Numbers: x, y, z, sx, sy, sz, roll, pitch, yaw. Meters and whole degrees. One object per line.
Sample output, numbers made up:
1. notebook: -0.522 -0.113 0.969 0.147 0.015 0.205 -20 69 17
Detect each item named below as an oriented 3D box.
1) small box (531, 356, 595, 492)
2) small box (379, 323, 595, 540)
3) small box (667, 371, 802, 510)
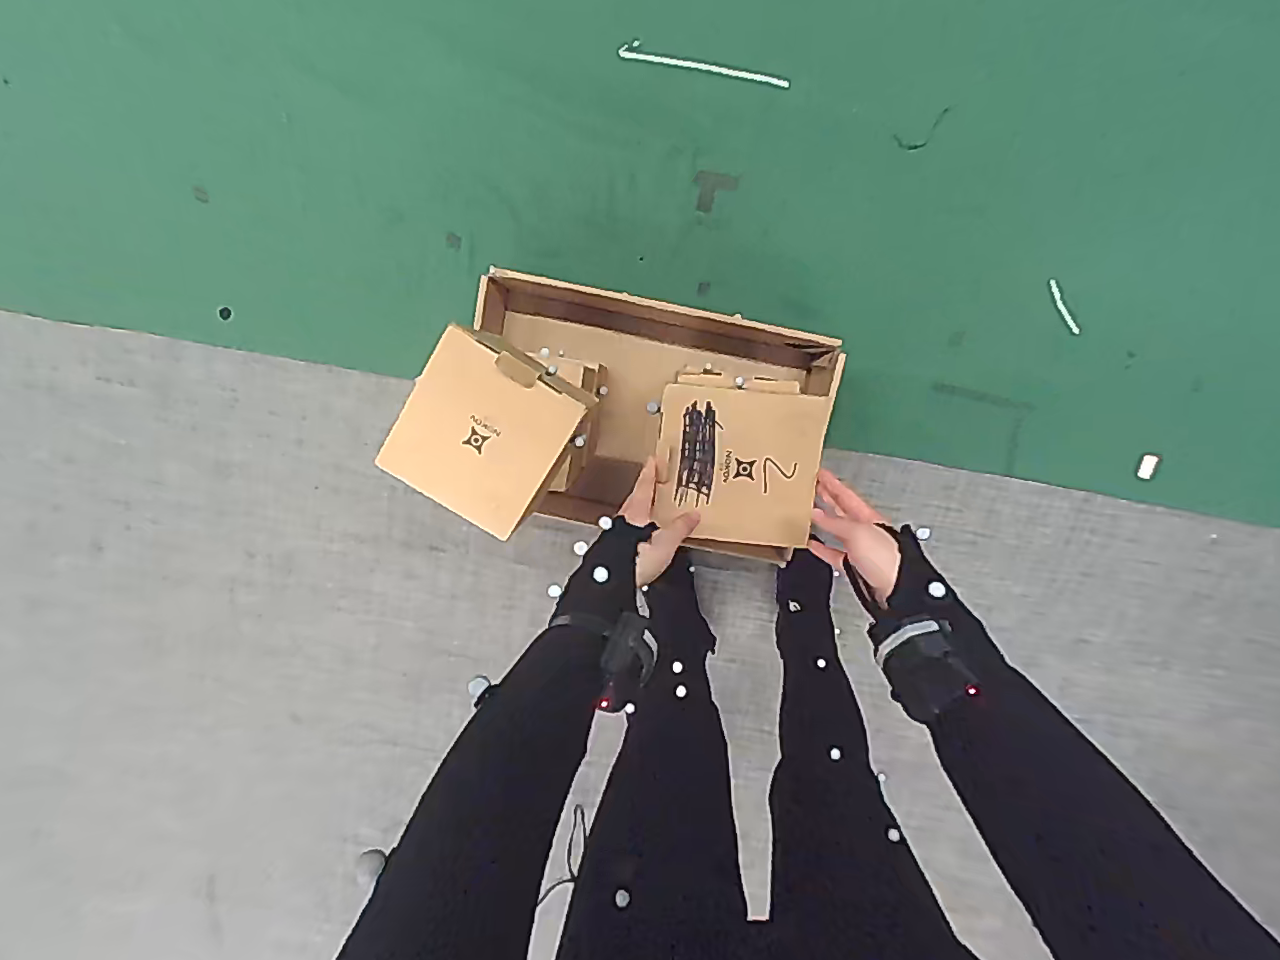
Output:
1. small box: -0.164 -0.095 0.807 0.168 0.176 0.179 10 99 -2
2. small box: -0.165 -0.059 0.648 0.168 0.176 0.179 32 98 -5
3. small box: 0.130 -0.067 0.809 0.168 0.176 0.179 6 102 3
